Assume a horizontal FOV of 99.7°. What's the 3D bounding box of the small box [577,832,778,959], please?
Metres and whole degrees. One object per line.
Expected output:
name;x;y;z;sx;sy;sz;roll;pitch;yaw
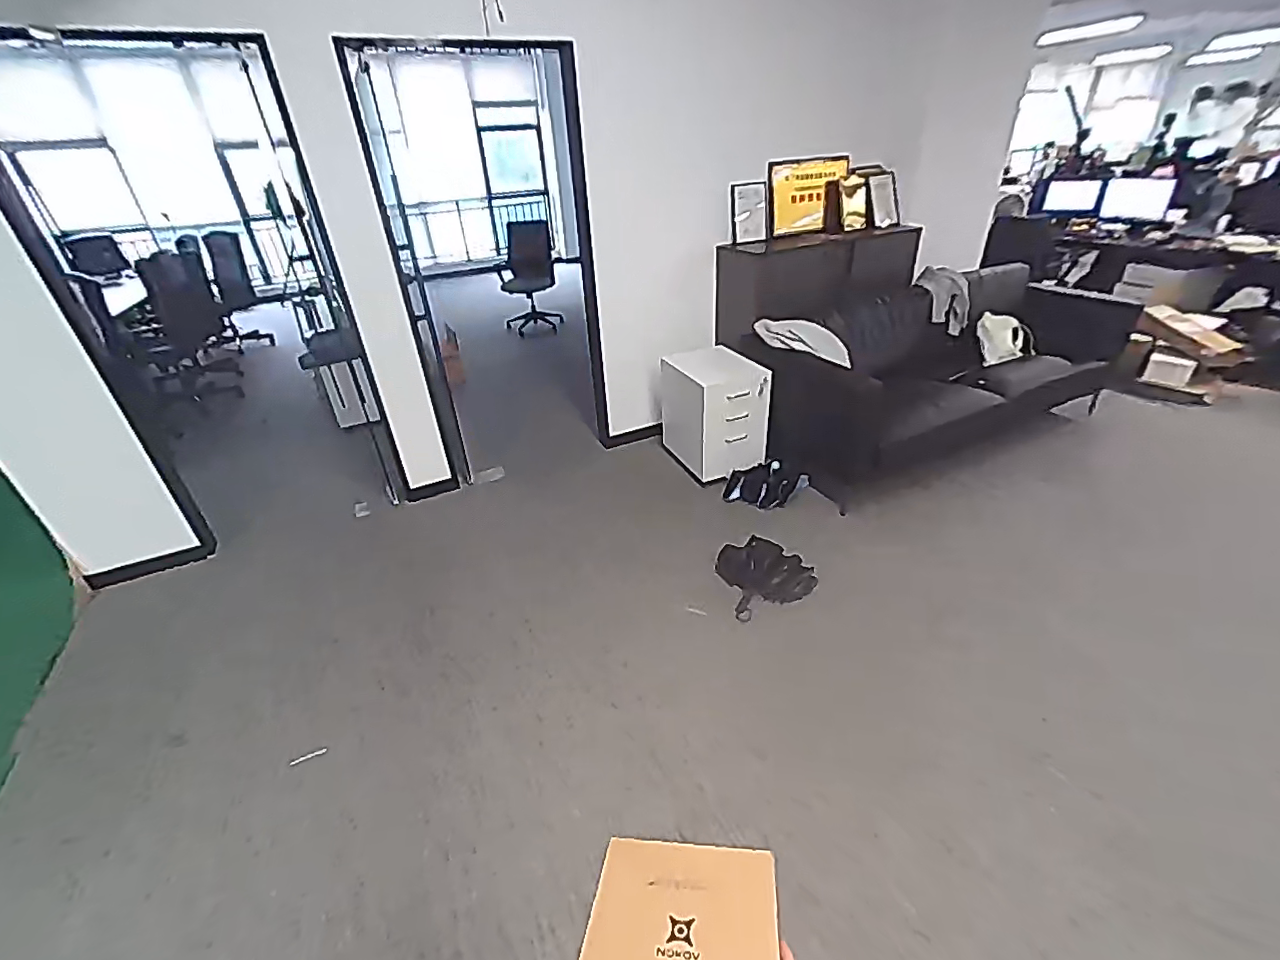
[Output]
small box;0.040;0.462;0.481;0.168;0.176;0.179;-1;14;11
